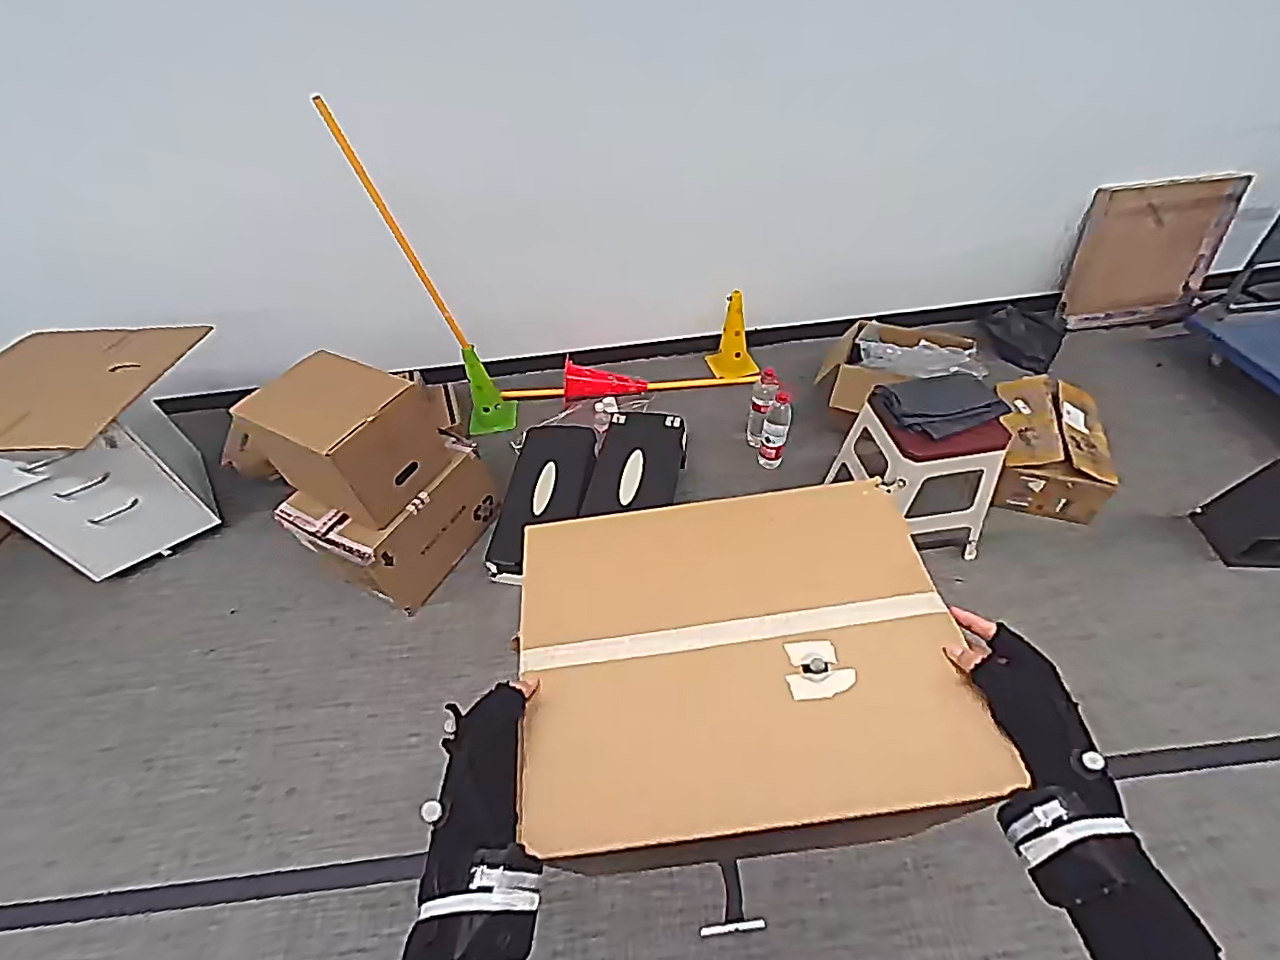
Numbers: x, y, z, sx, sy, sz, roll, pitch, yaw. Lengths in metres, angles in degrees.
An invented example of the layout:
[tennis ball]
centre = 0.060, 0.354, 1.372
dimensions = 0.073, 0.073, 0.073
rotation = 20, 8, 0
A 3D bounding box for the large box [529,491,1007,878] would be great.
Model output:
[large box]
centre = 0.099, 0.250, 0.645
dimensions = 0.408, 0.320, 0.320
rotation = -8, 52, 0
